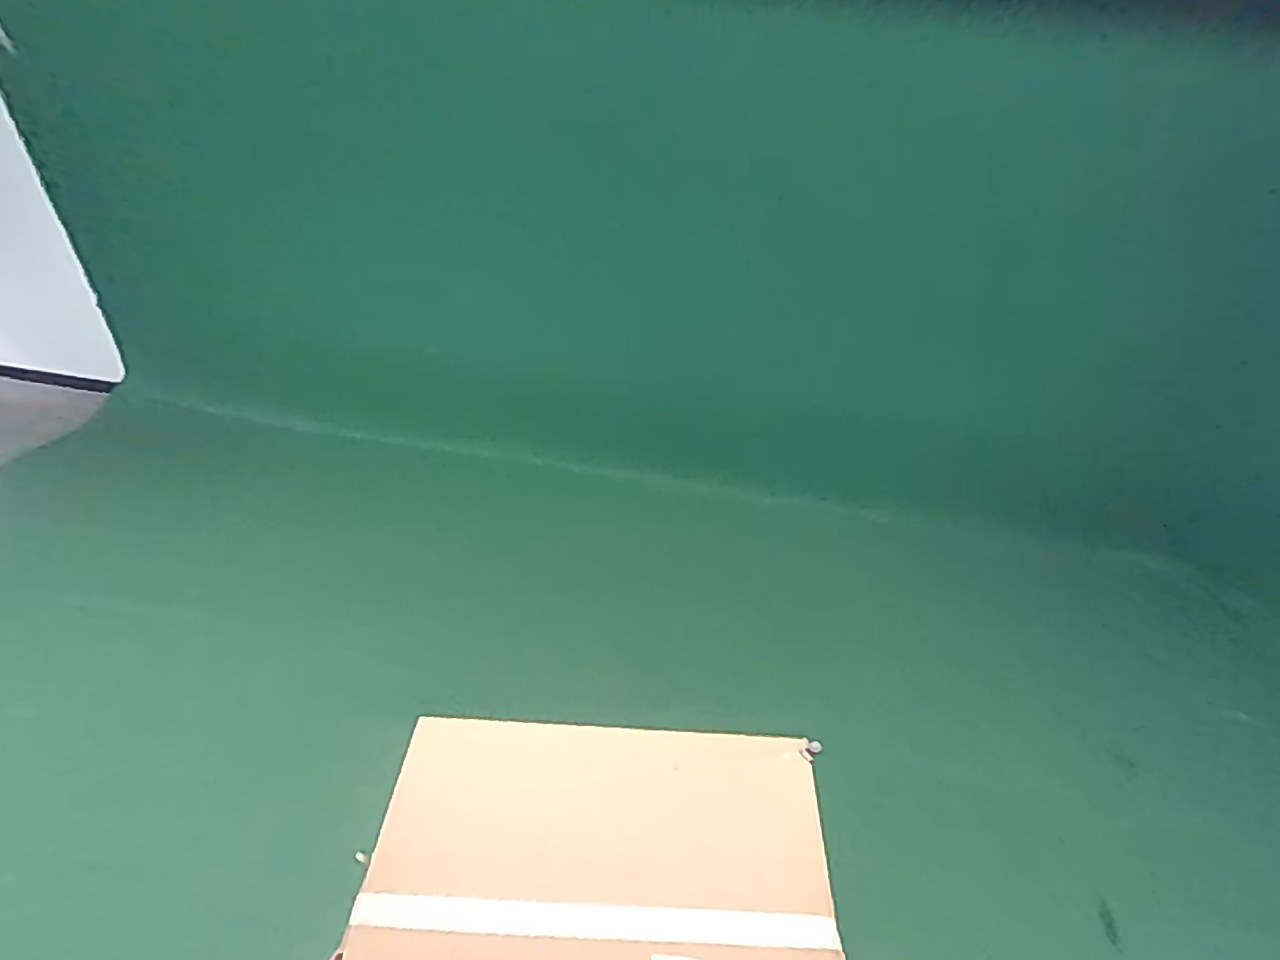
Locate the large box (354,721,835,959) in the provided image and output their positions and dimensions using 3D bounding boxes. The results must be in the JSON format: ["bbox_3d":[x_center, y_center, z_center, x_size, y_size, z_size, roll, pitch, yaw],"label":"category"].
[{"bbox_3d":[-0.042,0.476,0.572,0.408,0.320,0.320,3,47,-1],"label":"large box"}]
